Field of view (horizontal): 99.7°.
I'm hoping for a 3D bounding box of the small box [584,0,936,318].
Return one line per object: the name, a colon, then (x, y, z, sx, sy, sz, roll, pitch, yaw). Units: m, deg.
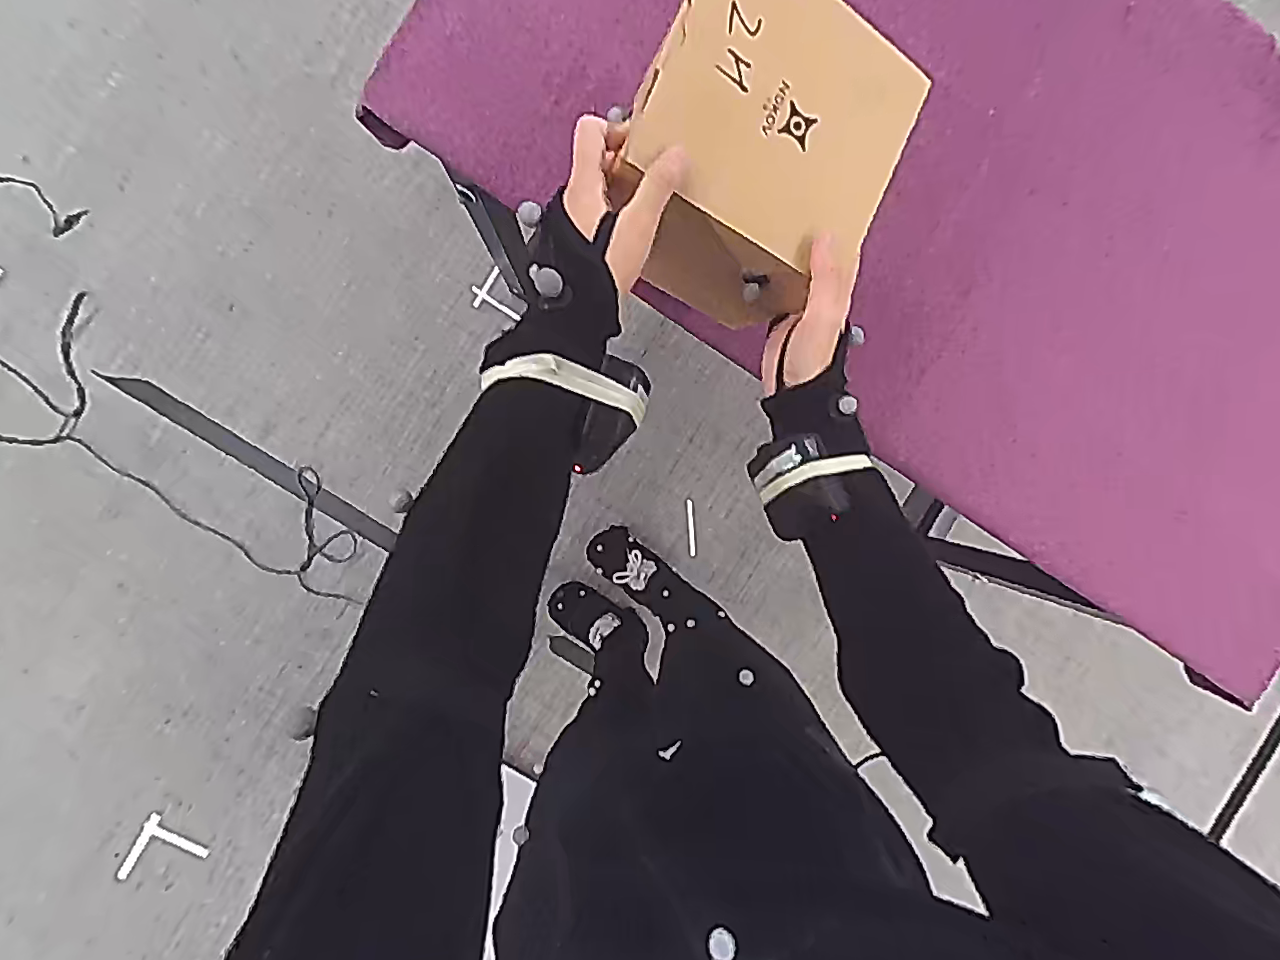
small box: (0.075, -0.243, 0.423, 0.179, 0.176, 0.168, 24, 90, -17)
